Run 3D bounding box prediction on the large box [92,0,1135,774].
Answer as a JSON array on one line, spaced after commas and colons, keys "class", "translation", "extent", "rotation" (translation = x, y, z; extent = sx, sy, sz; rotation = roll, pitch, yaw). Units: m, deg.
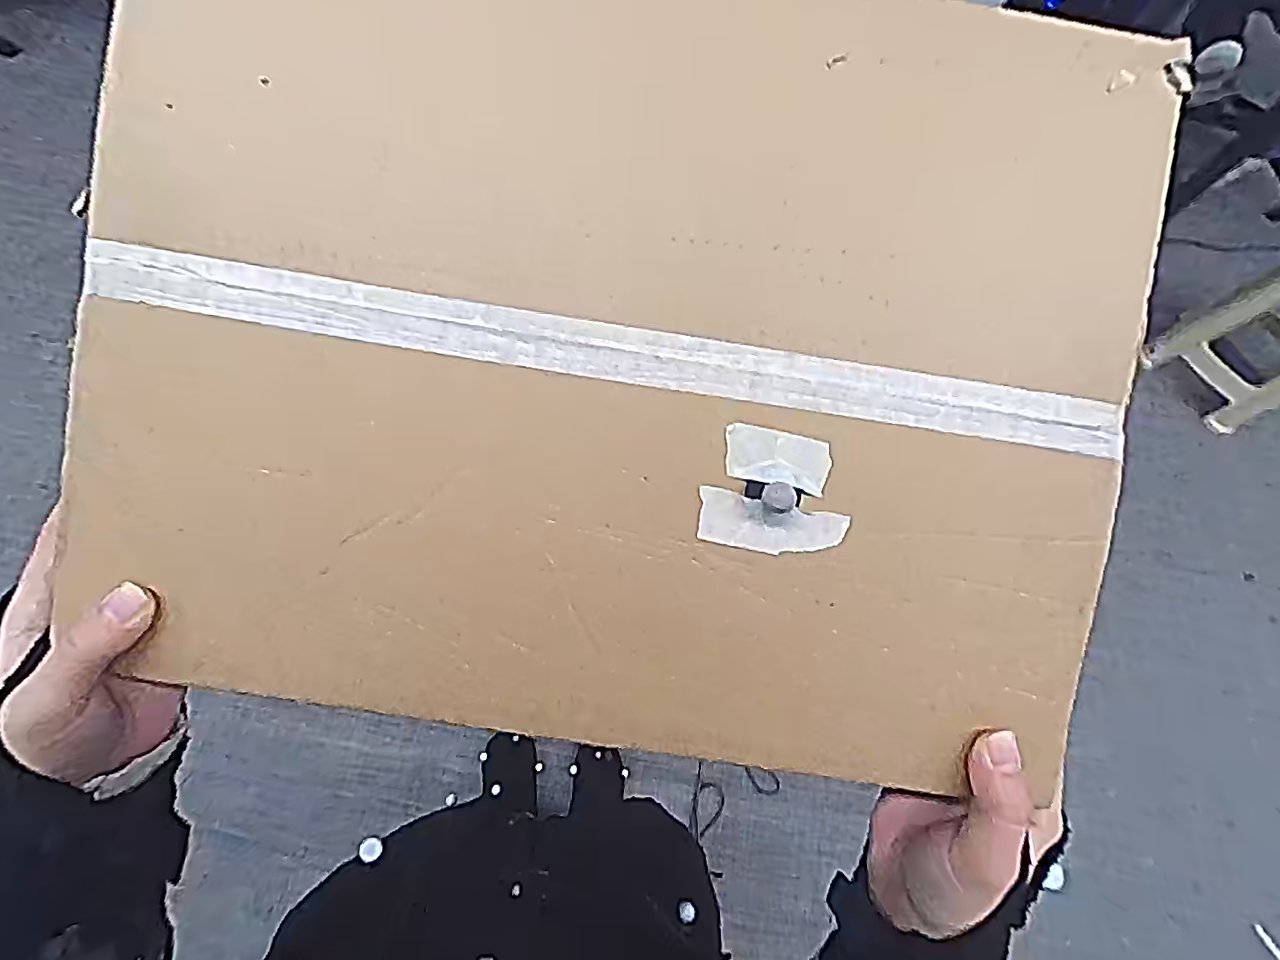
[{"class": "large box", "translation": [-0.012, -0.051, 0.372], "extent": [0.408, 0.320, 0.320], "rotation": [8, 92, -3]}]
